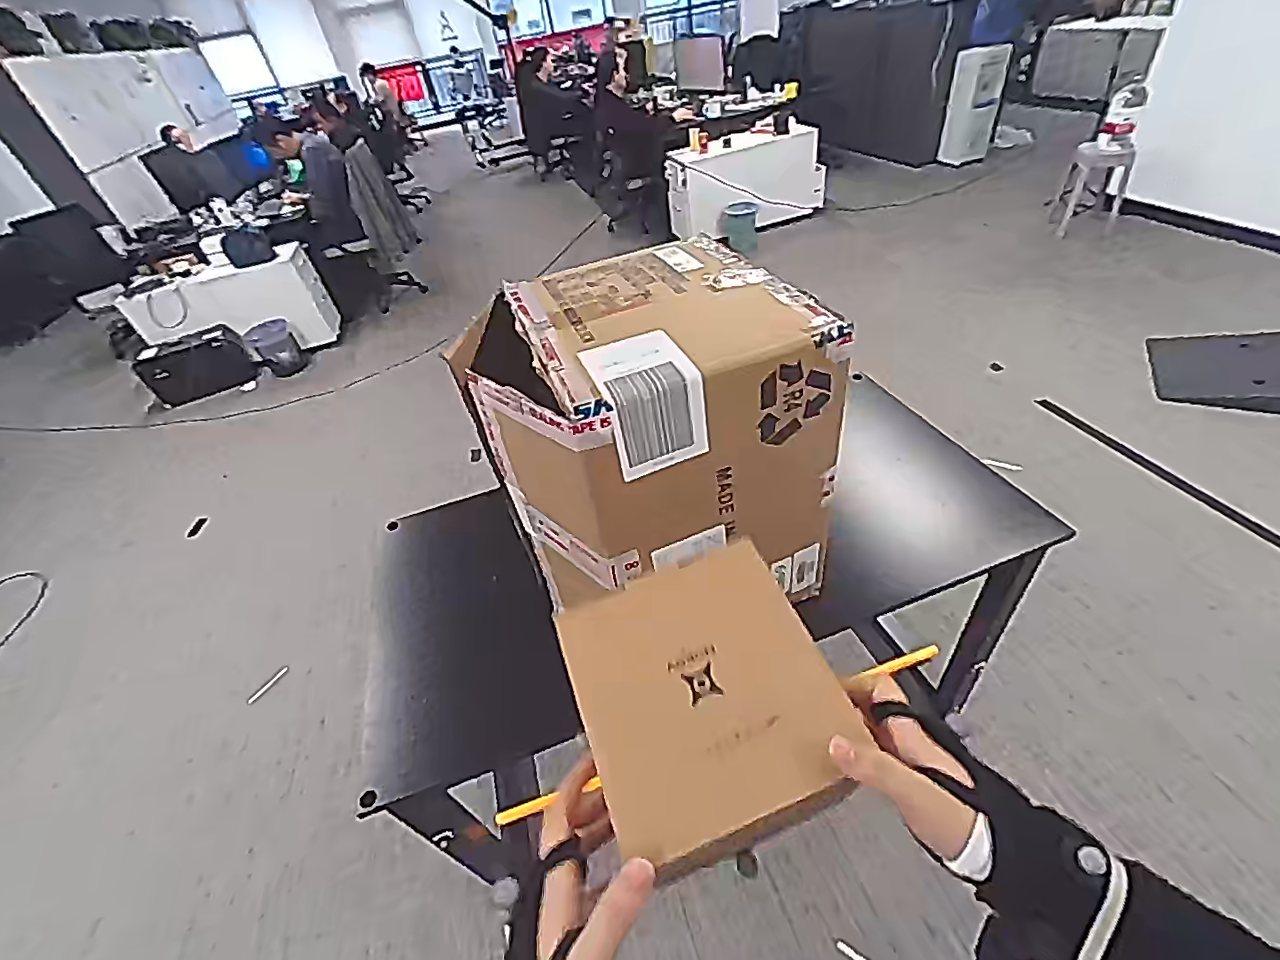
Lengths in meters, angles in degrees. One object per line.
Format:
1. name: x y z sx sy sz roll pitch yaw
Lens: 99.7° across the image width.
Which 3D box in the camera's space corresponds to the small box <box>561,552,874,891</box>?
1. small box: 0.051 0.195 0.436 0.168 0.176 0.179 -21 50 -7
